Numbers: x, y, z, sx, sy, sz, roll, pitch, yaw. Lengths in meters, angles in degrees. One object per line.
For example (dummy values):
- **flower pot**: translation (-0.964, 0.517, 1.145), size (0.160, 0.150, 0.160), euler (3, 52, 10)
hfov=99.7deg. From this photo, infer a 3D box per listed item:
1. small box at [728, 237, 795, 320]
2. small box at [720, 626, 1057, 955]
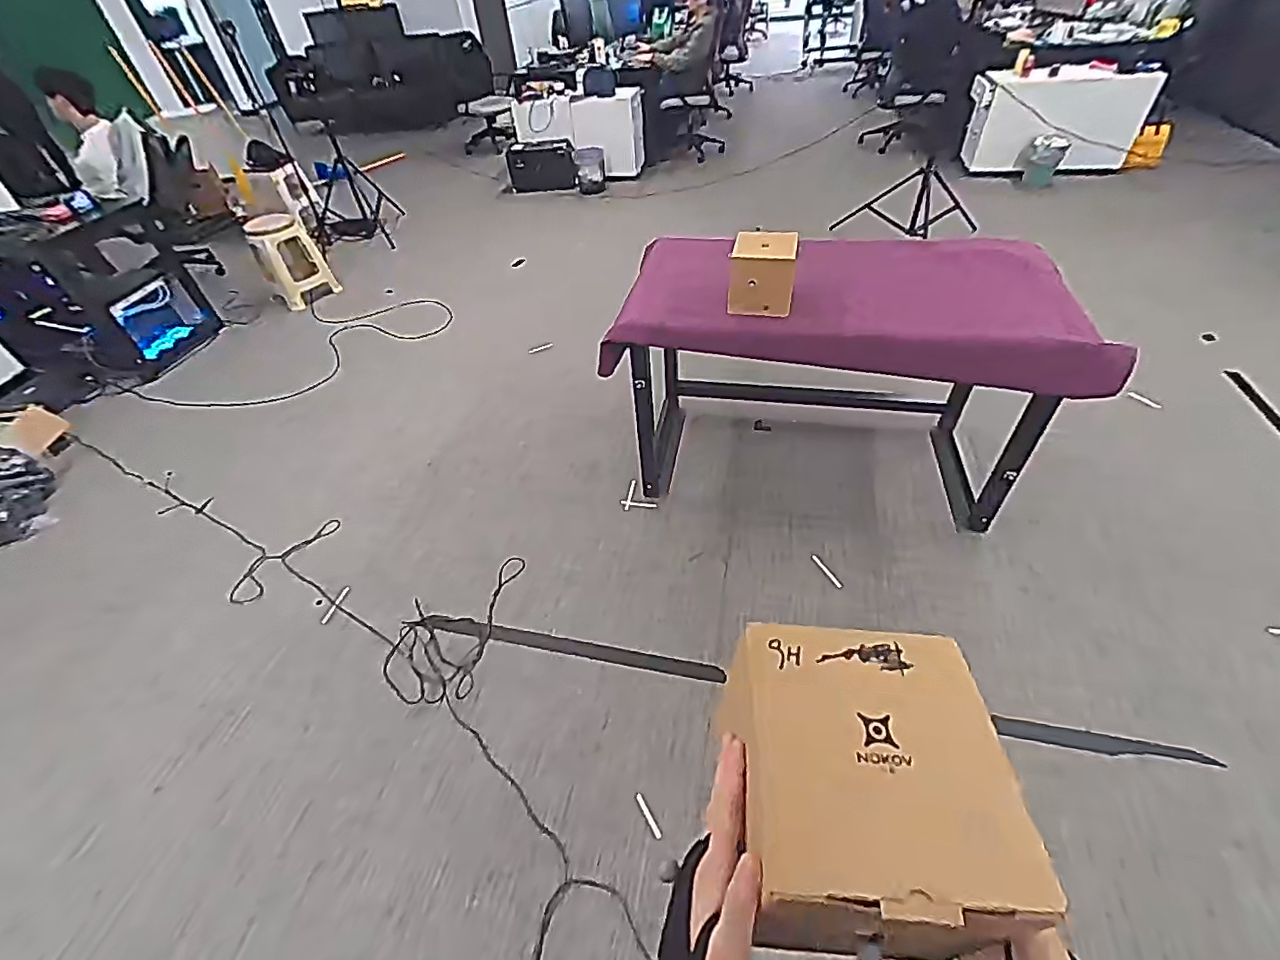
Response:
- **small box**: translation (0.340, -0.565, 1.517), size (0.168, 0.176, 0.179), euler (7, 45, 12)
- **small box**: translation (0.155, 0.238, 0.417), size (0.168, 0.176, 0.179), euler (4, 43, 1)
